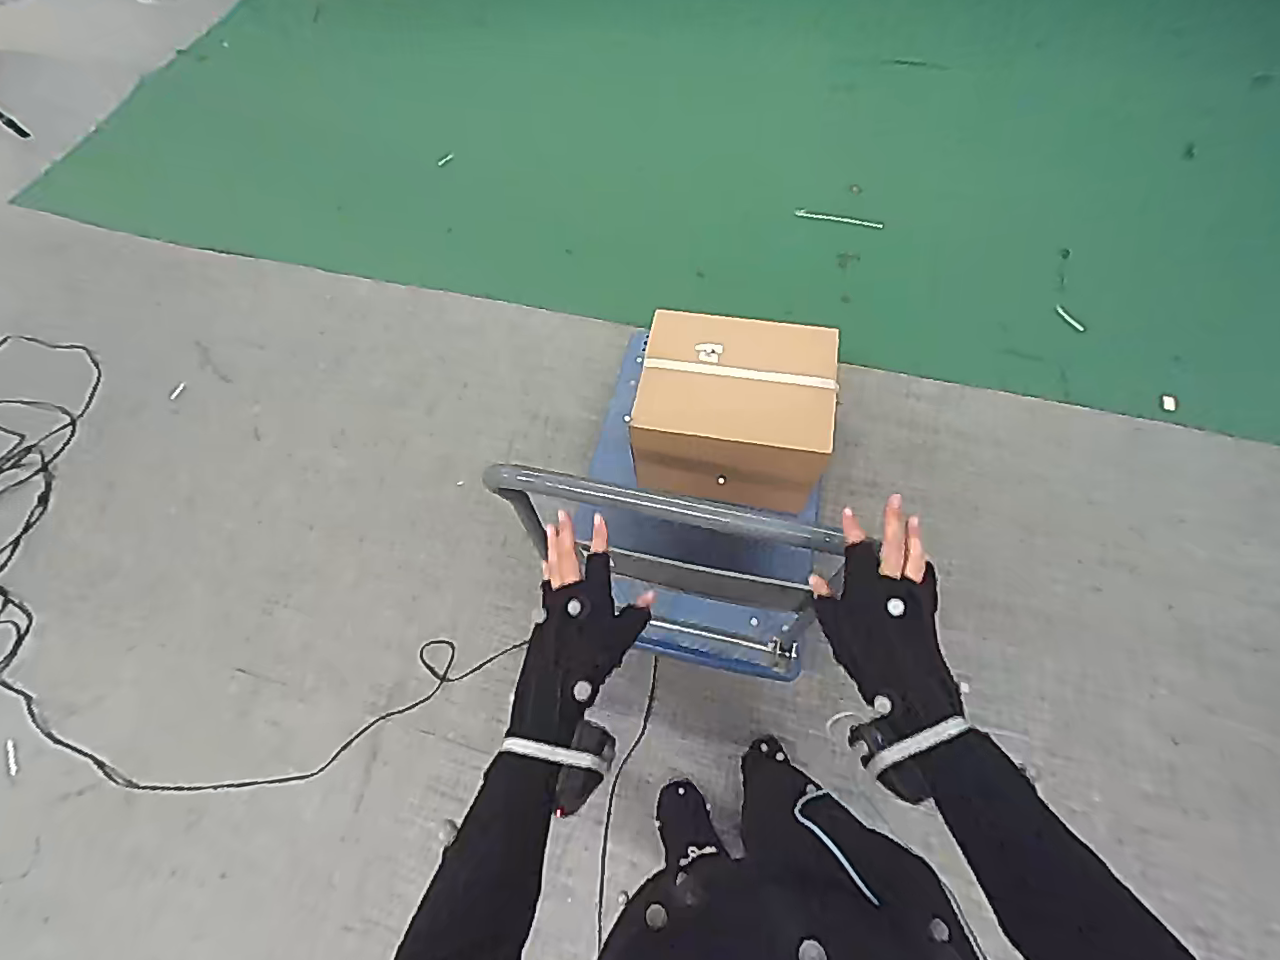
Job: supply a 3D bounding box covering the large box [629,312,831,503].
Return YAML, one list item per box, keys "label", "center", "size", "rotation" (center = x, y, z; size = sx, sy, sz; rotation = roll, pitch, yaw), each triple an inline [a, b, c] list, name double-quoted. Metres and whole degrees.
- label: "large box"
  center: [0.210, -0.159, 1.274]
  size: [0.408, 0.320, 0.320]
  rotation: [8, 65, 8]
